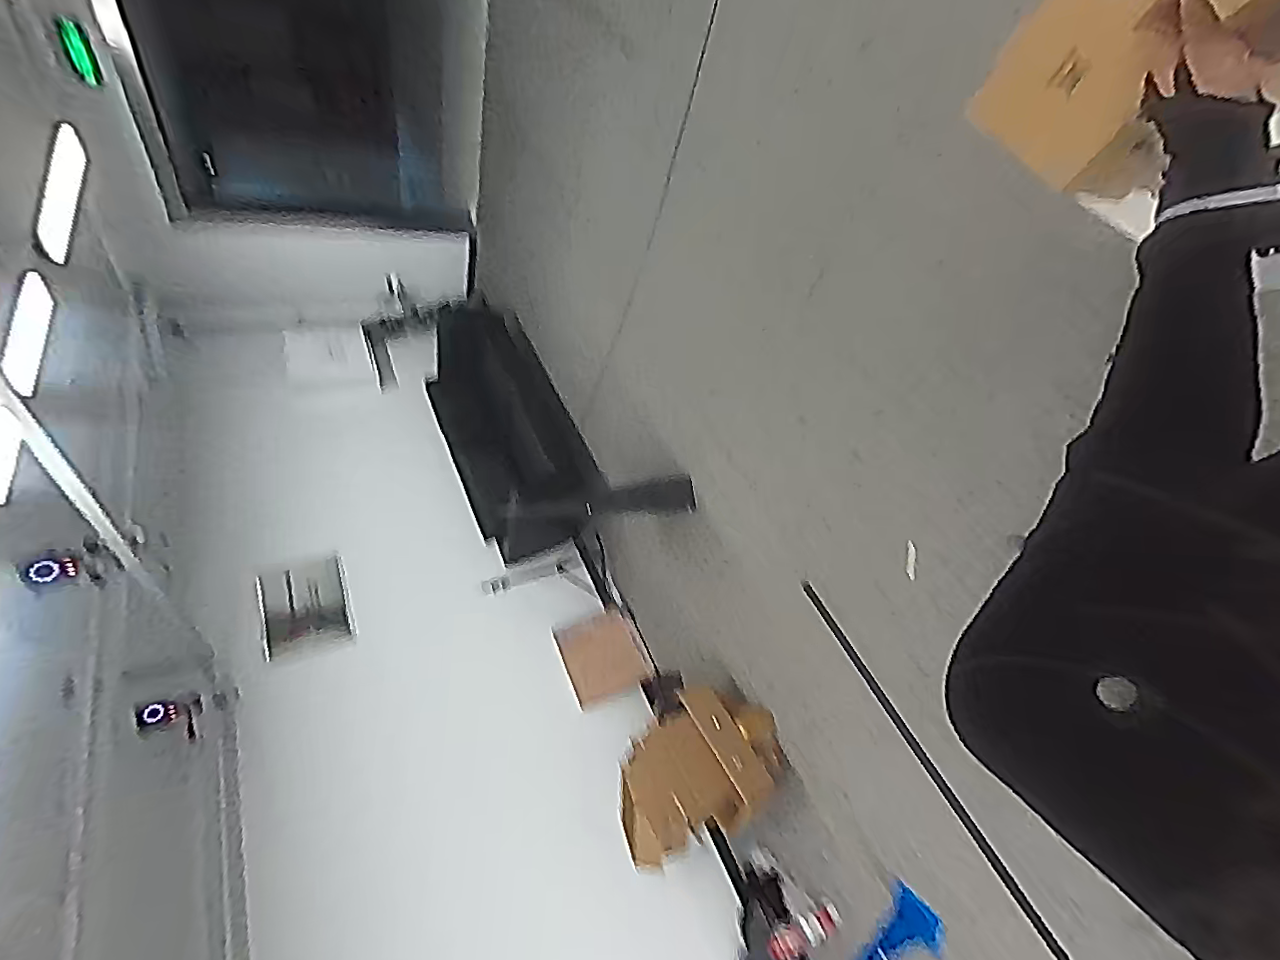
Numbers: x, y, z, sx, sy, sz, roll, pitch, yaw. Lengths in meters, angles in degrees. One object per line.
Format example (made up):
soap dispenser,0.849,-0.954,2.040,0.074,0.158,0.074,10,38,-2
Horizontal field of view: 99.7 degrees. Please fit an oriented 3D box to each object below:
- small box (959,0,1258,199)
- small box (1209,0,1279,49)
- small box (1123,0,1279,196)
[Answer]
small box,0.532,-0.450,0.626,0.179,0.176,0.168,64,148,26
small box,0.470,-0.428,0.343,0.179,0.176,0.168,-30,78,56
small box,0.677,-0.490,0.690,0.168,0.176,0.179,62,147,27
